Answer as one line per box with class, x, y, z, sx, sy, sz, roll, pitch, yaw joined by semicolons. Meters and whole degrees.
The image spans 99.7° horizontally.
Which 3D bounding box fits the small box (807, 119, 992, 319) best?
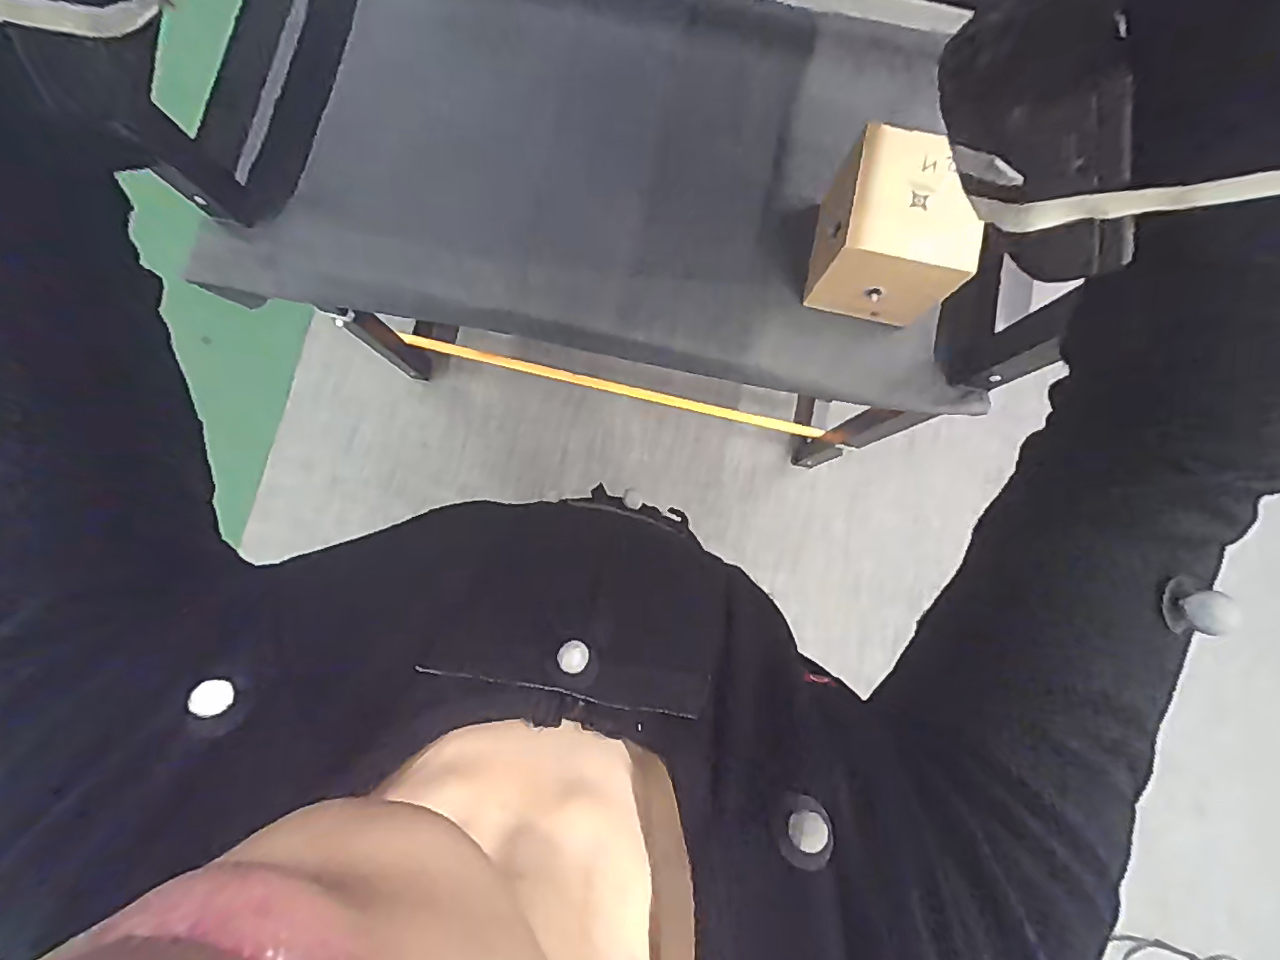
small box;0.346;-0.348;0.753;0.168;0.176;0.179;12;82;0
